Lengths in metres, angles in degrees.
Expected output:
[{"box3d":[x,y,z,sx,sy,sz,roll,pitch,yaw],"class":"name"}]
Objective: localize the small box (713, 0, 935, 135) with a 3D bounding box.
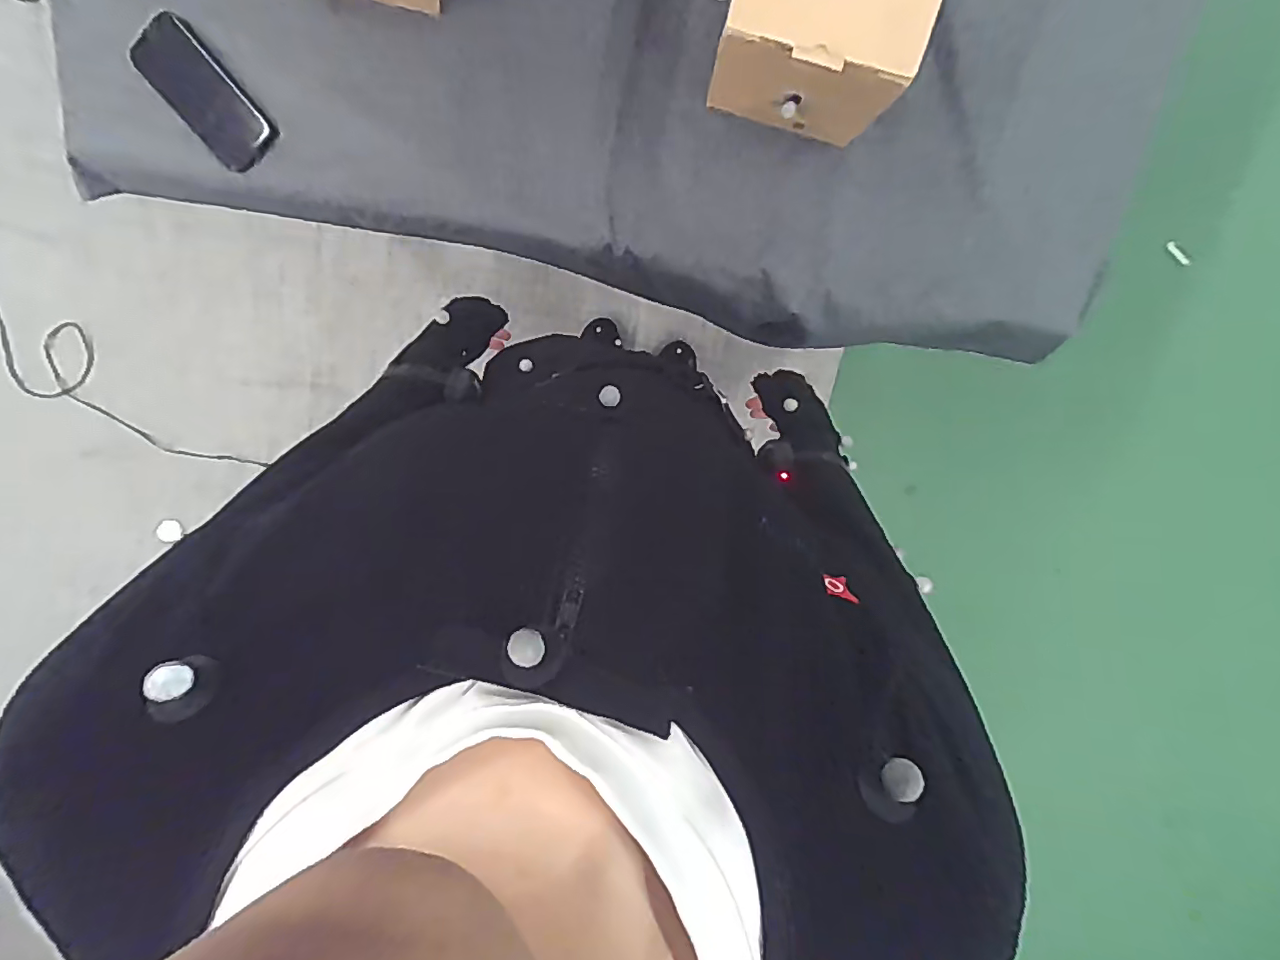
[{"box3d":[0.170,-0.453,0.498,0.168,0.176,0.179,15,107,-2],"class":"small box"}]
